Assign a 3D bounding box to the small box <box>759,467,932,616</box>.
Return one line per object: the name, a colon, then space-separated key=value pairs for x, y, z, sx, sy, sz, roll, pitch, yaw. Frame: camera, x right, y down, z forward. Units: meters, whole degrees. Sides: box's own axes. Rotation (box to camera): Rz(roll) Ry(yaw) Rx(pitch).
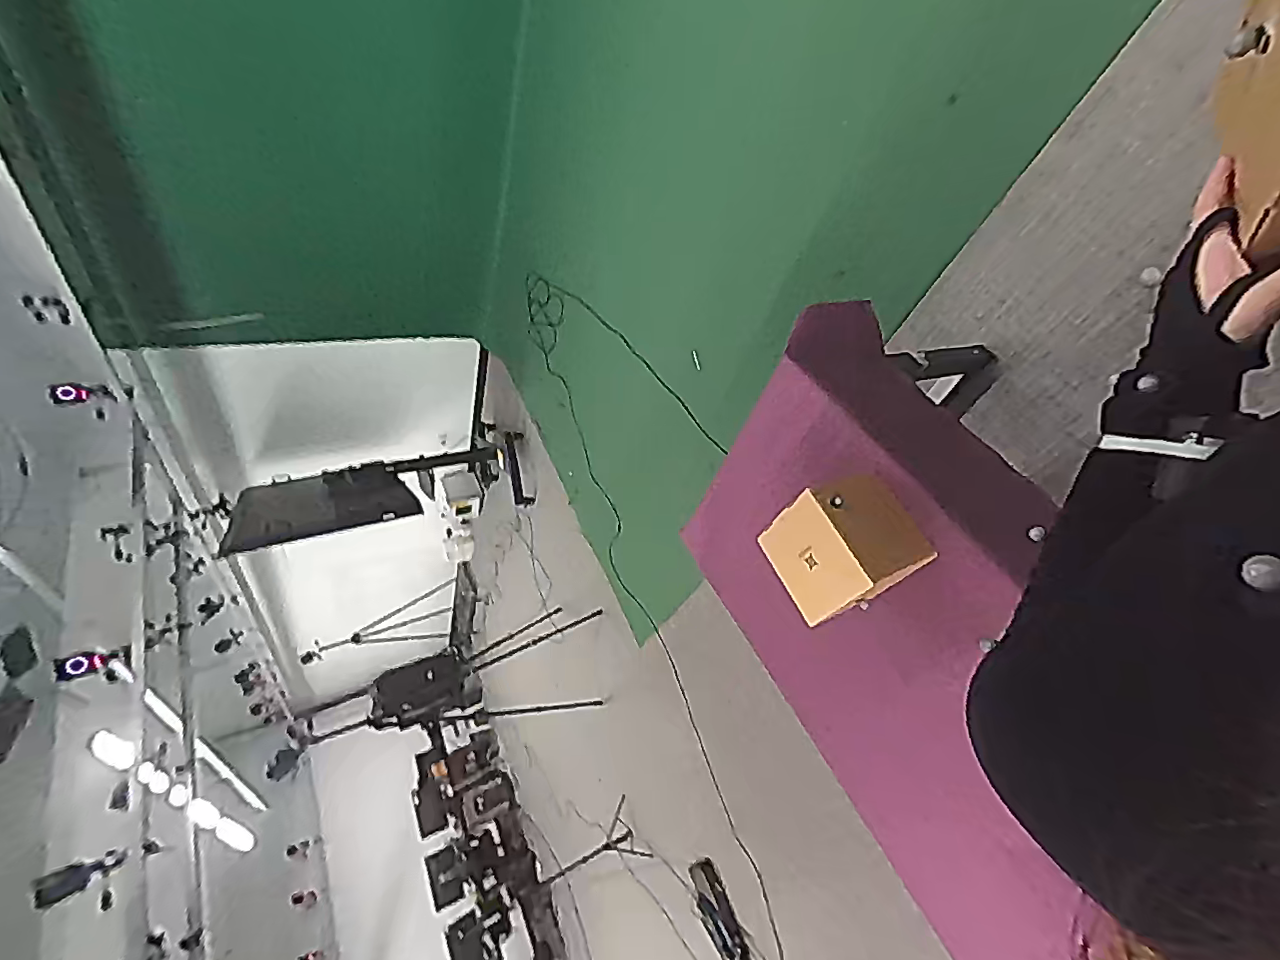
small box: x=0.344 y=0.099 z=0.914 sx=0.179 sy=0.176 sz=0.168 roll=62 pitch=147 yaw=25
